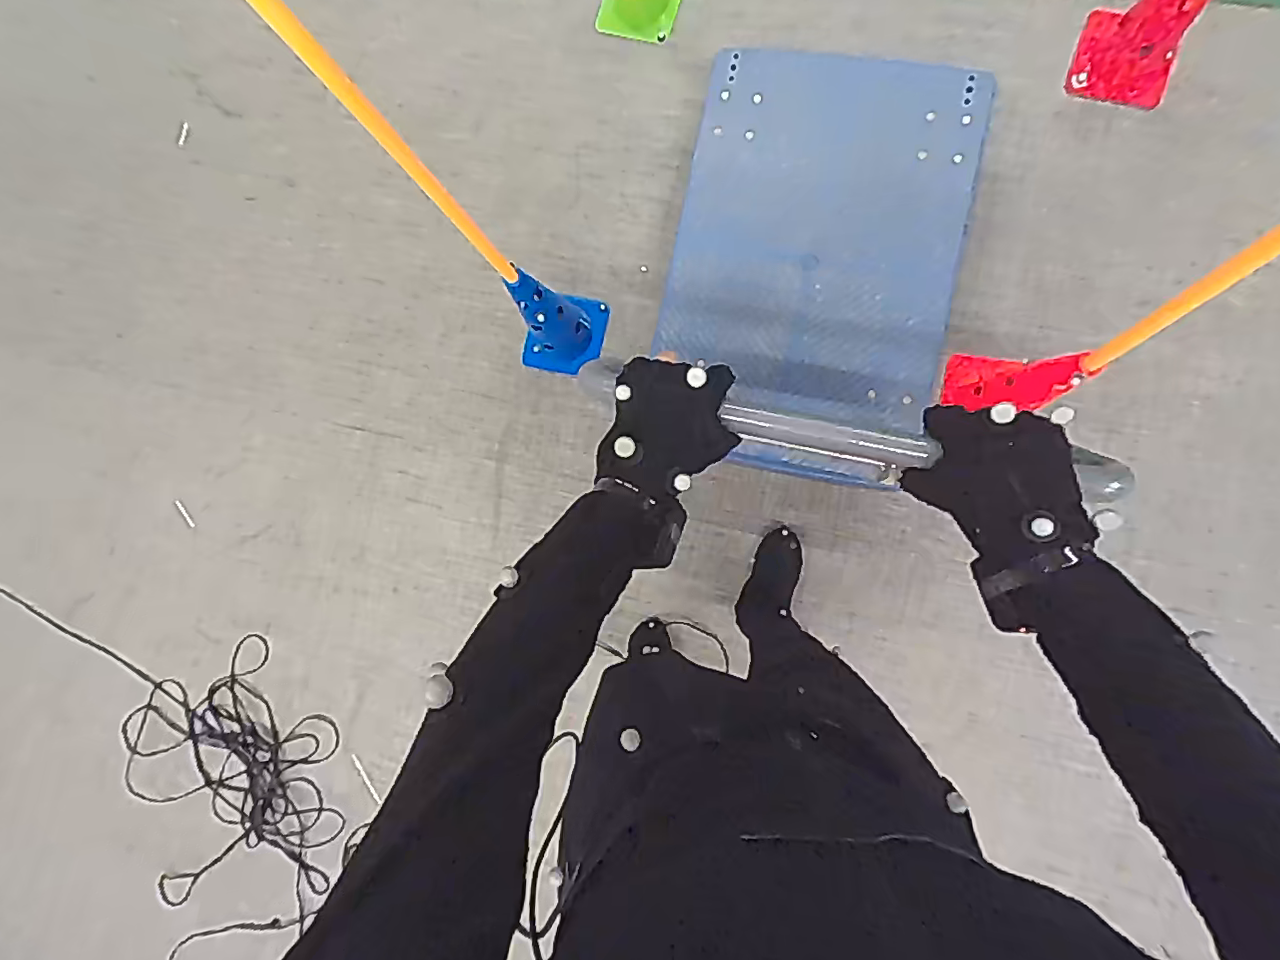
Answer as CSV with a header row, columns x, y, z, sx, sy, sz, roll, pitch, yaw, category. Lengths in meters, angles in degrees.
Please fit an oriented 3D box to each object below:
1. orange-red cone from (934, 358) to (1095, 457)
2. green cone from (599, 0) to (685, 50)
x,y,z,sx,sy,sz,roll,pitch,yaw,category
0.761,-0.172,1.068,0.199,0.360,0.198,13,89,10,orange-red cone
-0.017,-1.226,1.226,0.202,0.368,0.200,17,89,10,green cone
